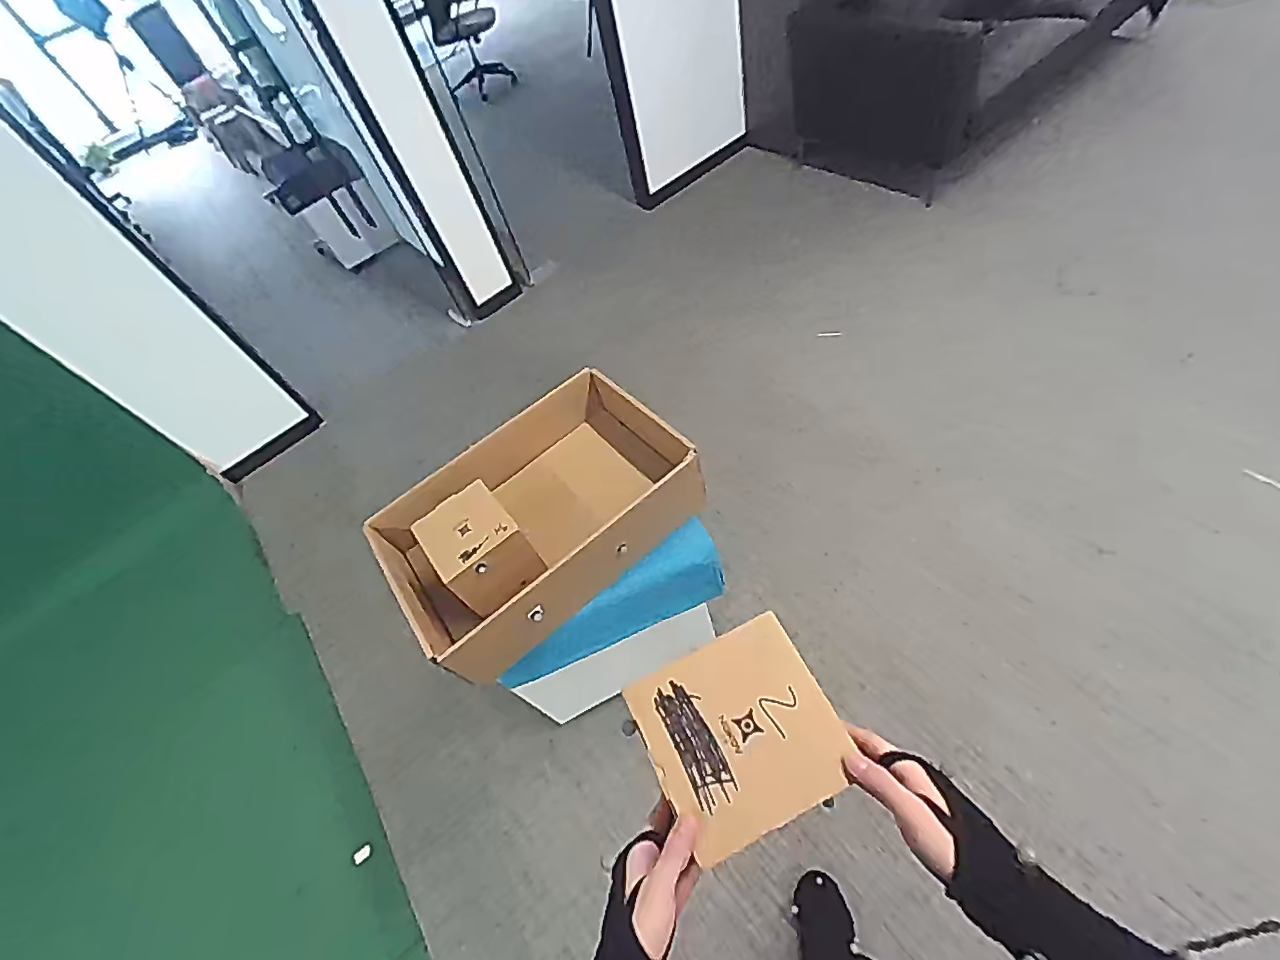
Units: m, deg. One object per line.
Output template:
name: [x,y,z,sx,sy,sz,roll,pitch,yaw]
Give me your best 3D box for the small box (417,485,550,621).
small box: [-0.312,0.151,1.095,0.168,0.176,0.179,-38,52,-13]
